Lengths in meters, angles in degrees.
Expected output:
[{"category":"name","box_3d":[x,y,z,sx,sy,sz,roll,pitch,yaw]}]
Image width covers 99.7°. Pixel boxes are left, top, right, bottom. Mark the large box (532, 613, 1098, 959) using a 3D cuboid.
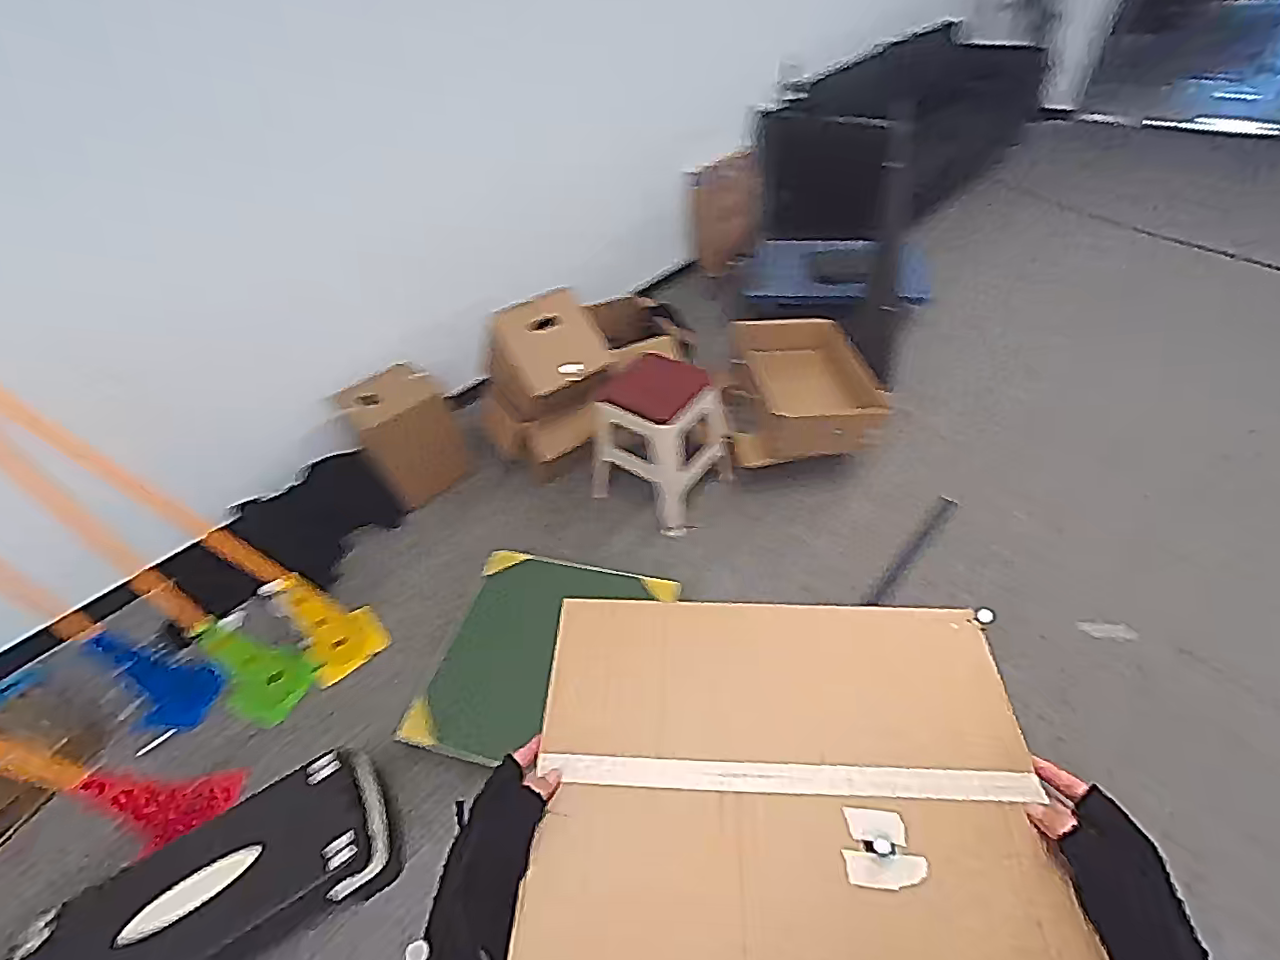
[{"category":"large box","box_3d":[0.131,0.354,0.561,0.408,0.320,0.320,2,51,5]}]
